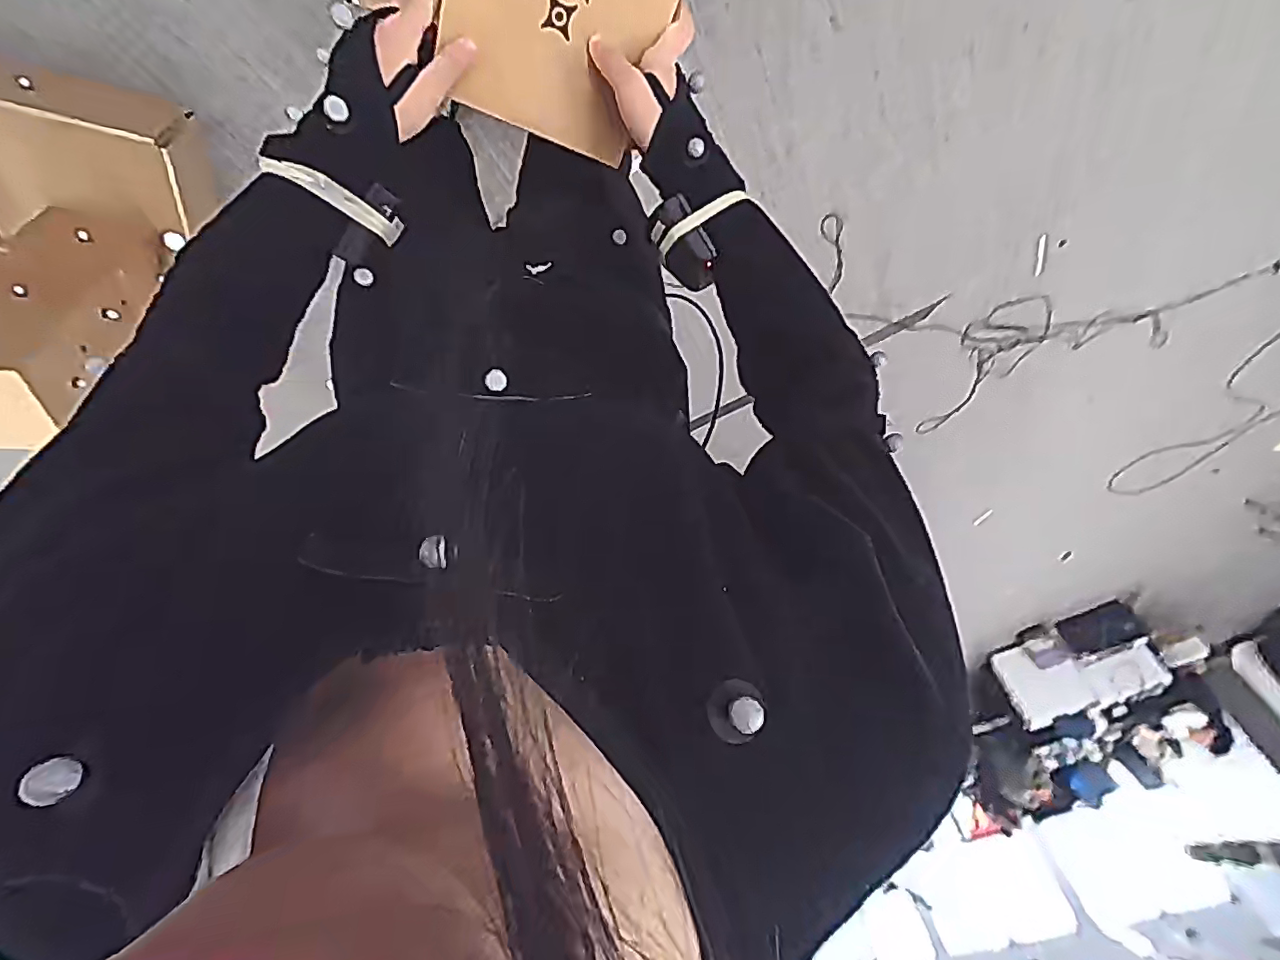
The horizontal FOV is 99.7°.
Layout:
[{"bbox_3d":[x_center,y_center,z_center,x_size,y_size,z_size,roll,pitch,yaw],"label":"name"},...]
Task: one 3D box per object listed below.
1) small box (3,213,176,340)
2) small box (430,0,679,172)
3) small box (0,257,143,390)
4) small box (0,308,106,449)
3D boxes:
[{"bbox_3d":[-1.091,-0.412,1.092,0.179,0.176,0.168,4,137,-21],"label":"small box"},{"bbox_3d":[-0.076,-0.411,0.465,0.168,0.176,0.179,9,133,-25],"label":"small box"},{"bbox_3d":[-1.065,-0.288,0.992,0.179,0.176,0.168,2,136,-17],"label":"small box"},{"bbox_3d":[-1.032,-0.168,0.882,0.179,0.176,0.168,1,136,-18],"label":"small box"}]
